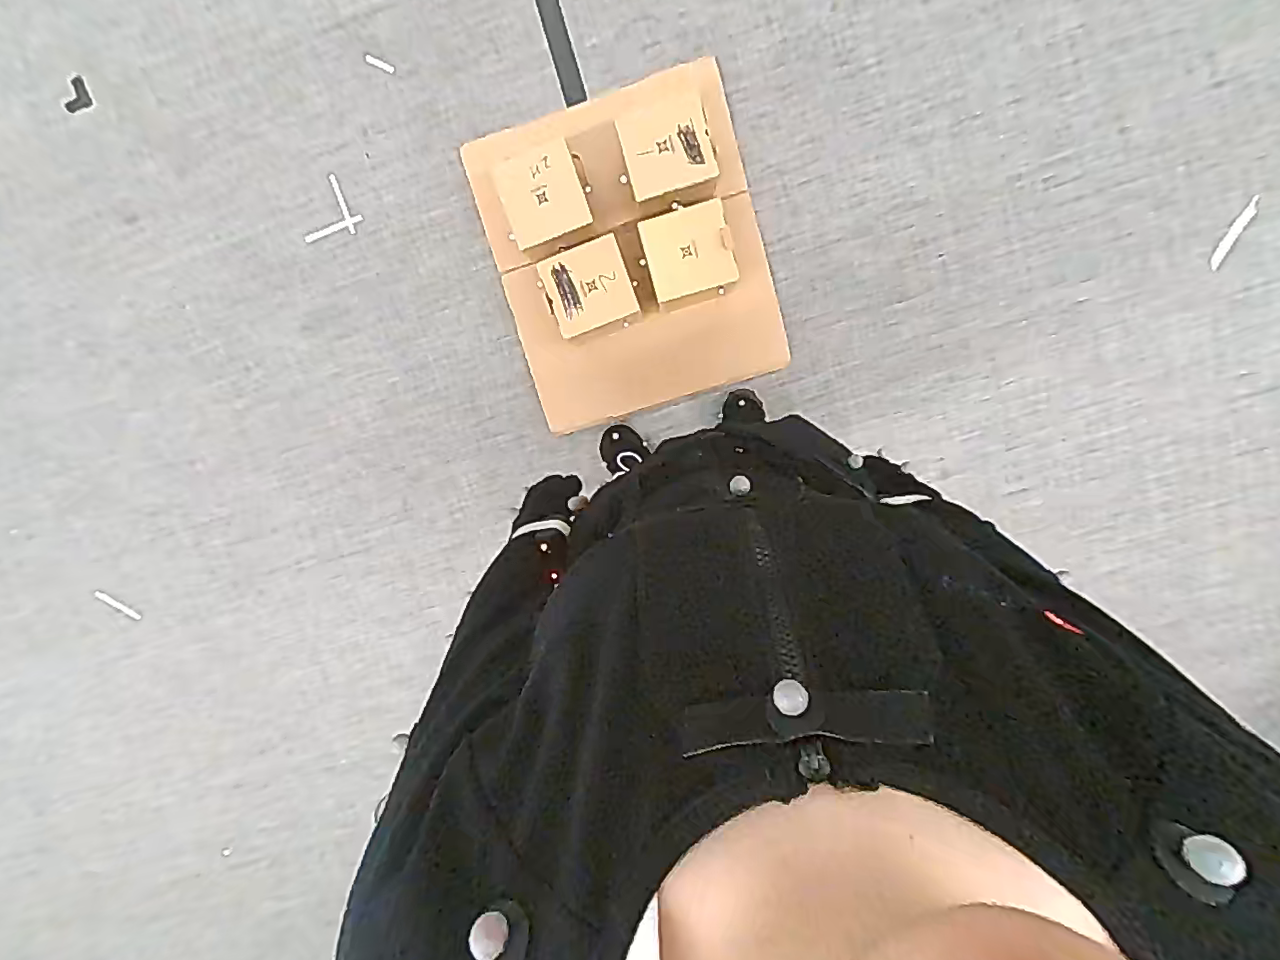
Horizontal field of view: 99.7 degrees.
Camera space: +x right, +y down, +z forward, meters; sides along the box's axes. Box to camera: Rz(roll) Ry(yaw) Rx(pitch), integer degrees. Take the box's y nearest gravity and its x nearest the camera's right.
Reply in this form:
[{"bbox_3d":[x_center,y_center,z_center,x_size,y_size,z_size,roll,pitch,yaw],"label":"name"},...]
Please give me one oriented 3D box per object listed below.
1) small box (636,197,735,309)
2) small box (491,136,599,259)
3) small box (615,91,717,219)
[{"bbox_3d":[0.097,-0.485,1.182,0.179,0.176,0.168,-14,99,3],"label":"small box"},{"bbox_3d":[-0.197,-0.601,1.180,0.168,0.176,0.179,-18,99,5],"label":"small box"},{"bbox_3d":[0.055,-0.679,1.153,0.179,0.176,0.168,-14,100,6],"label":"small box"}]
